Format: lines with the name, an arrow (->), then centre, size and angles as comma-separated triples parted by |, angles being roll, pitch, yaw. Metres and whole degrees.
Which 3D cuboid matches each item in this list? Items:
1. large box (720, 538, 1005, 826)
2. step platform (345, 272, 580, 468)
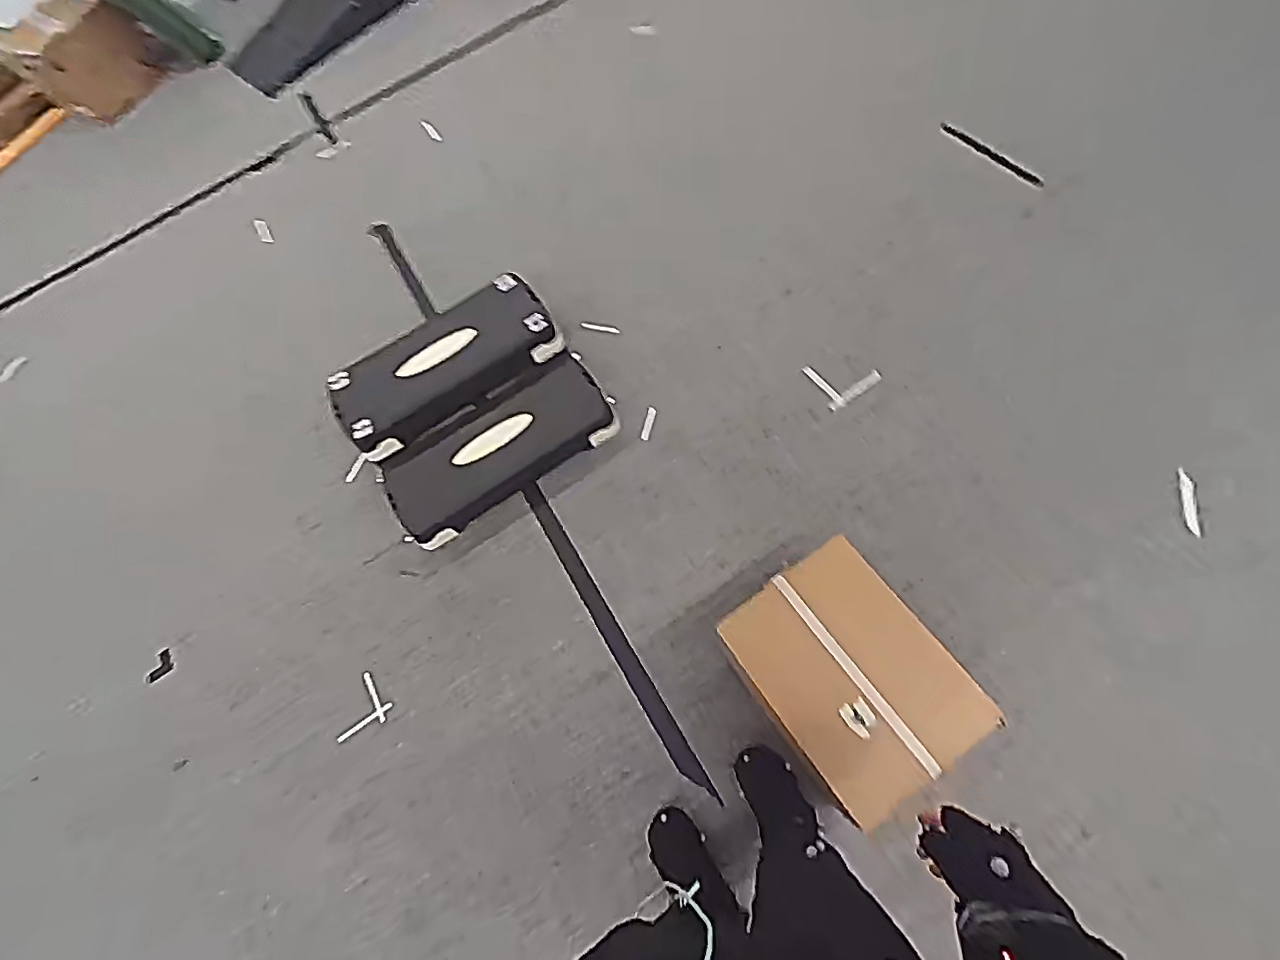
large box -> 0.406, 0.396, 1.110 | 0.320, 0.320, 0.408 | -35, 67, -5
step platform -> -0.537, -0.339, 1.652 | 0.684, 0.204, 0.286 | -34, 66, -6
